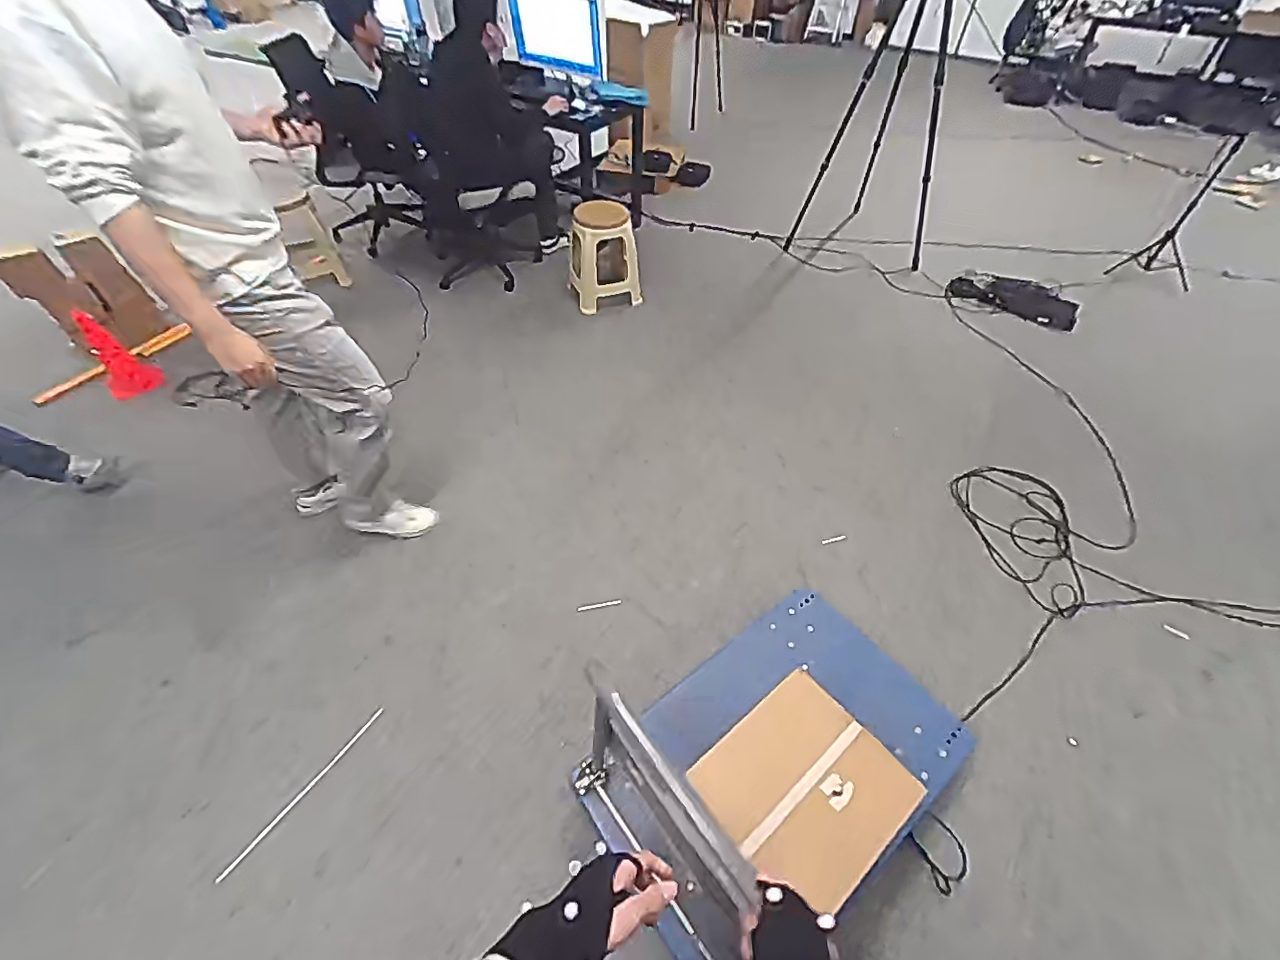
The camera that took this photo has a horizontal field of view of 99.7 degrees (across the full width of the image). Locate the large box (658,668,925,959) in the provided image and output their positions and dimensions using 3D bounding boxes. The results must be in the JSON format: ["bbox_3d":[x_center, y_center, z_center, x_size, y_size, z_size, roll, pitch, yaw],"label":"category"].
[{"bbox_3d":[0.288,0.683,1.112,0.408,0.320,0.320,-30,56,-27],"label":"large box"}]
